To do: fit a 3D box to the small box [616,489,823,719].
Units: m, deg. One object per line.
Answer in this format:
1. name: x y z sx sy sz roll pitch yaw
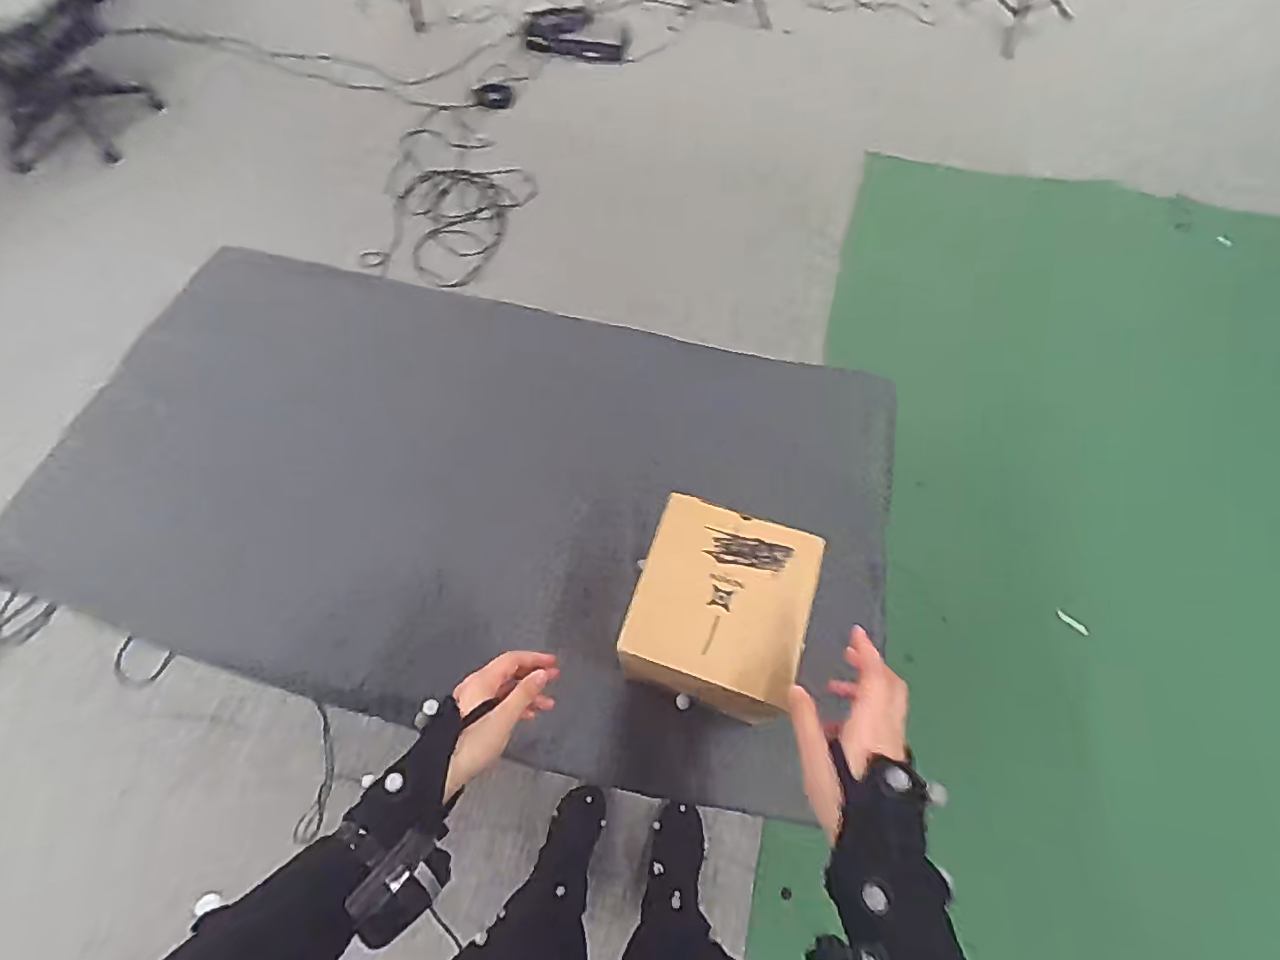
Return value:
1. small box: 0.082 0.142 0.593 0.168 0.176 0.179 17 64 11
